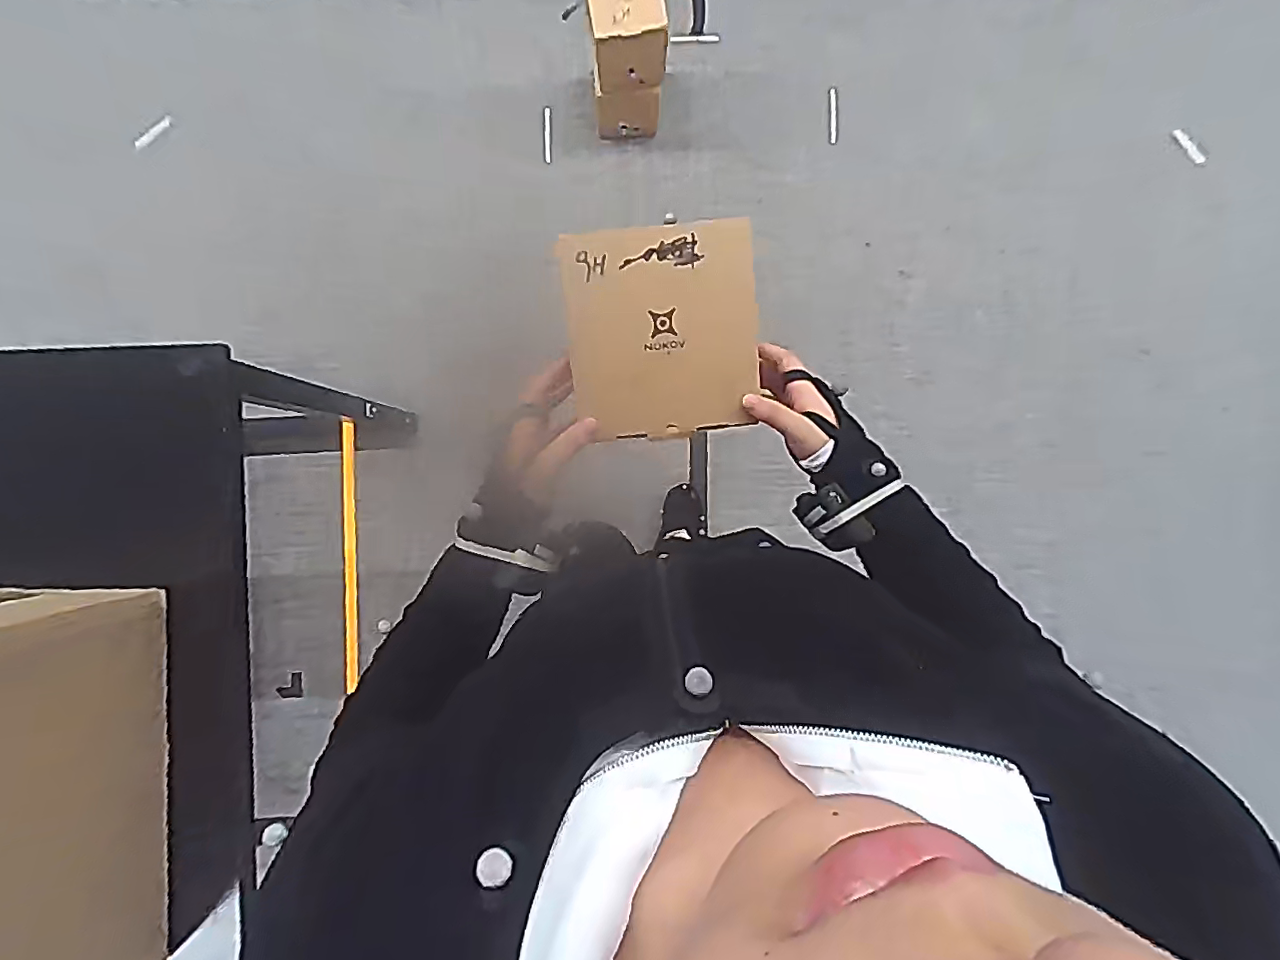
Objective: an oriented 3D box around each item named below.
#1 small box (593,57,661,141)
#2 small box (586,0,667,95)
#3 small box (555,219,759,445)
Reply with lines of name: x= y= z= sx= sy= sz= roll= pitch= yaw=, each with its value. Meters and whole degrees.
small box: x=-0.036 y=-1.037 z=1.427 sx=0.168 sy=0.176 sz=0.179 roll=-5 pitch=91 yaw=0
small box: x=-0.033 y=-1.052 z=1.262 sx=0.168 sy=0.176 sz=0.179 roll=-10 pitch=90 yaw=1
small box: x=0.015 y=-0.142 z=0.540 sx=0.168 sy=0.176 sz=0.179 roll=-7 pitch=103 yaw=-2
